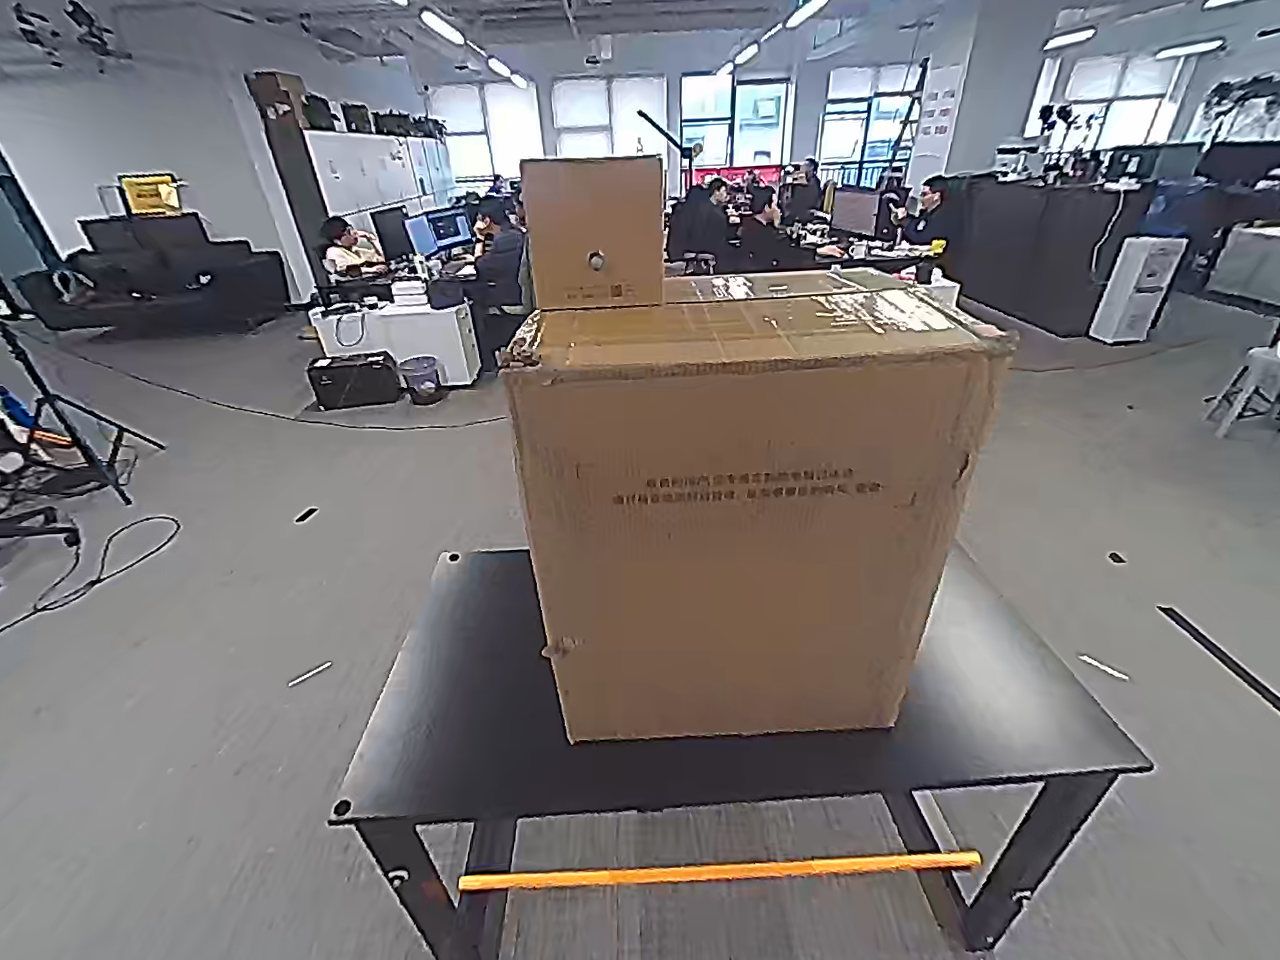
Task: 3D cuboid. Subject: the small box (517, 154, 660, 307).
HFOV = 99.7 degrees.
[{"bbox_3d":[-0.062,-0.334,0.726,0.168,0.176,0.179,-4,29,-3],"label":"small box"}]
